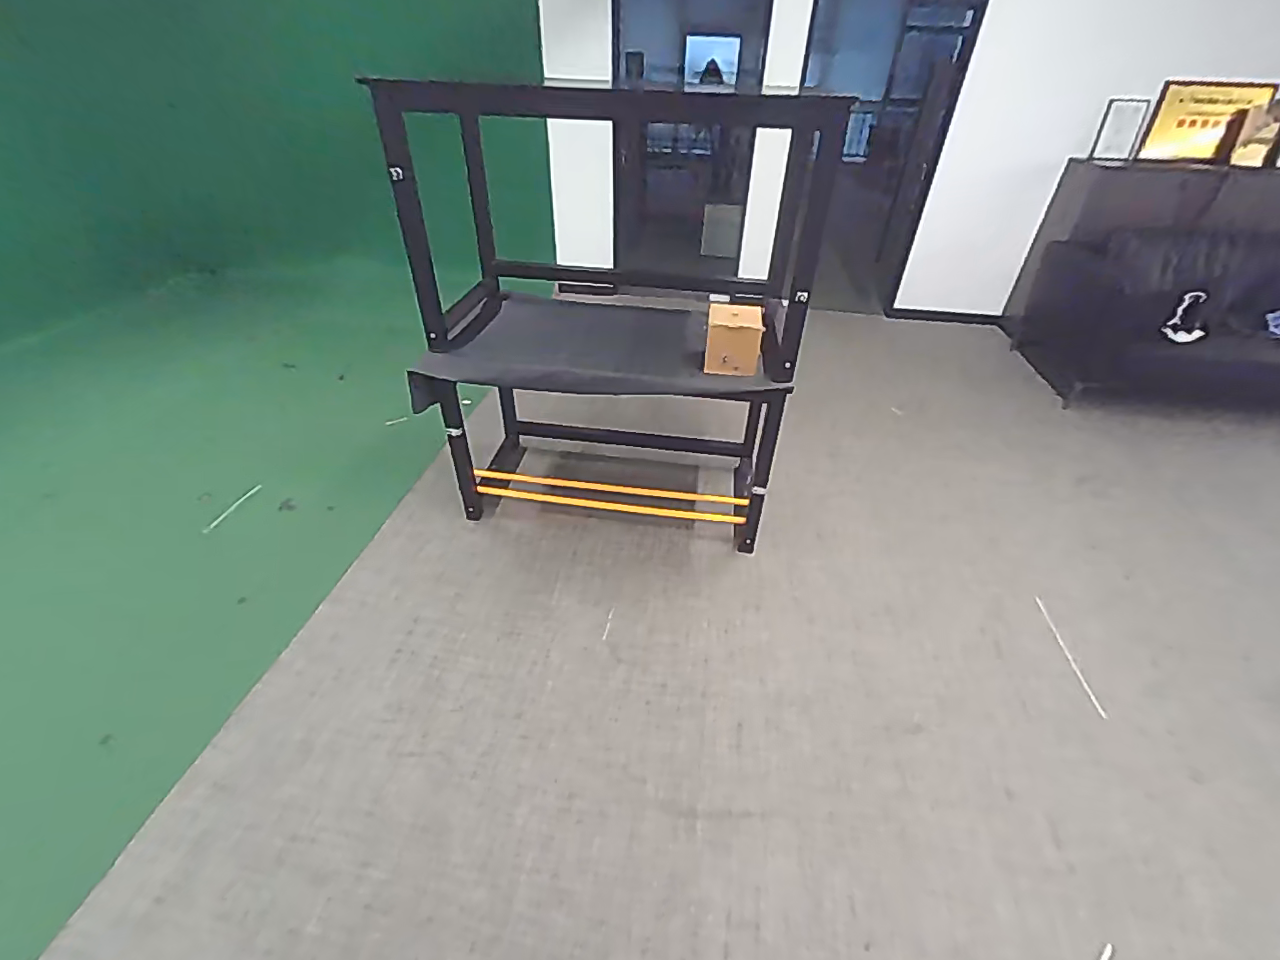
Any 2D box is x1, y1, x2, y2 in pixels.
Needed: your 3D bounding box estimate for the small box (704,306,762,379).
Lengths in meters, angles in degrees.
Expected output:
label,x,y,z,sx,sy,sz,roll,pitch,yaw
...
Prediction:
label,x,y,z,sx,sy,sz,roll,pitch,yaw
small box,0.298,-0.445,1.746,0.168,0.176,0.179,5,38,6
